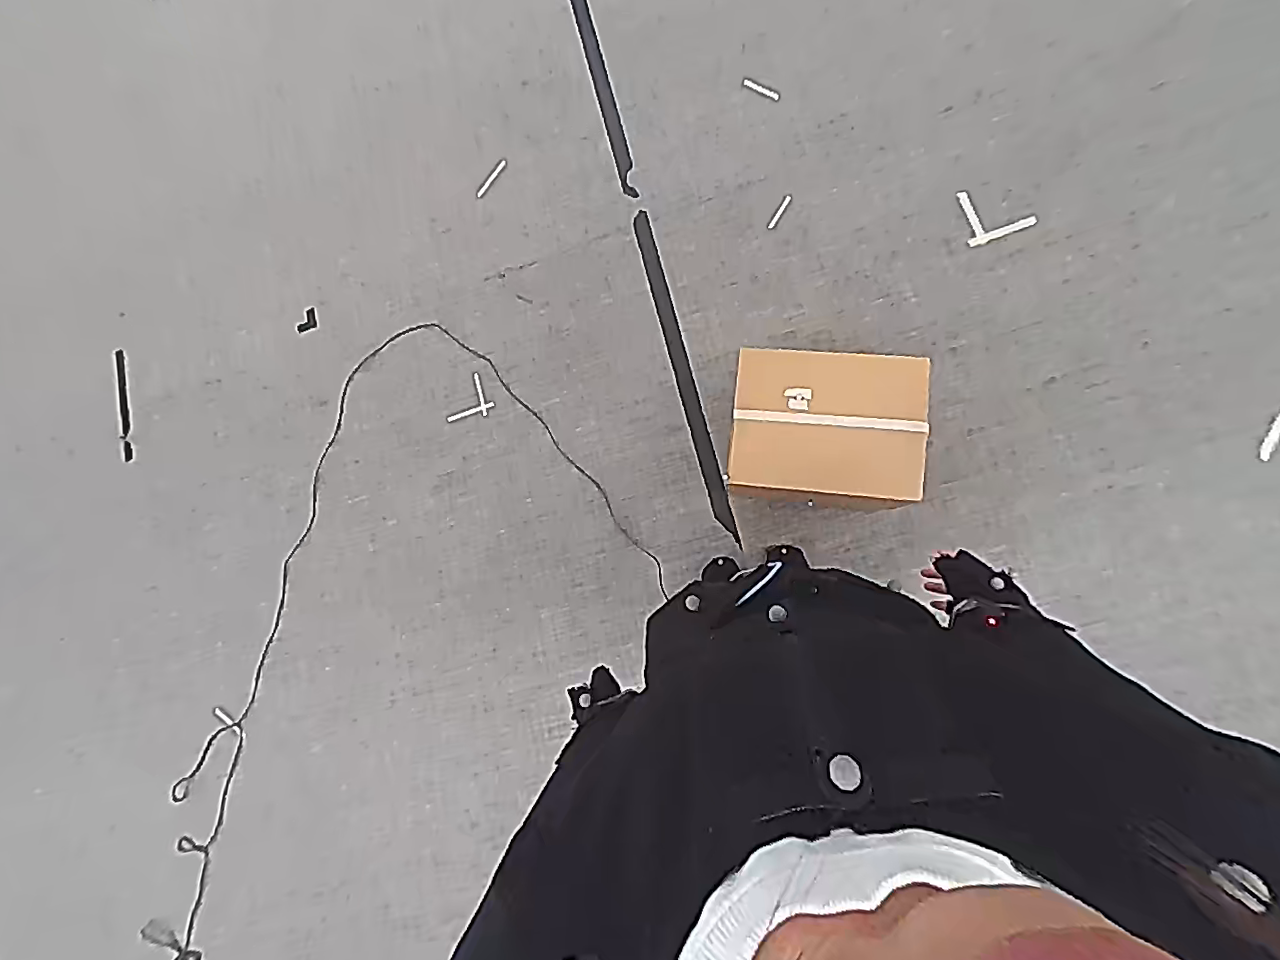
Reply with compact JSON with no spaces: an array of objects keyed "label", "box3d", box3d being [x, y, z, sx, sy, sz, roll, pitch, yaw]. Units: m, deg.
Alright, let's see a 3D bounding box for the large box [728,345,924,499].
[{"label":"large box","box3d":[0.434,-0.127,1.330,0.408,0.320,0.320,5,84,11]}]
